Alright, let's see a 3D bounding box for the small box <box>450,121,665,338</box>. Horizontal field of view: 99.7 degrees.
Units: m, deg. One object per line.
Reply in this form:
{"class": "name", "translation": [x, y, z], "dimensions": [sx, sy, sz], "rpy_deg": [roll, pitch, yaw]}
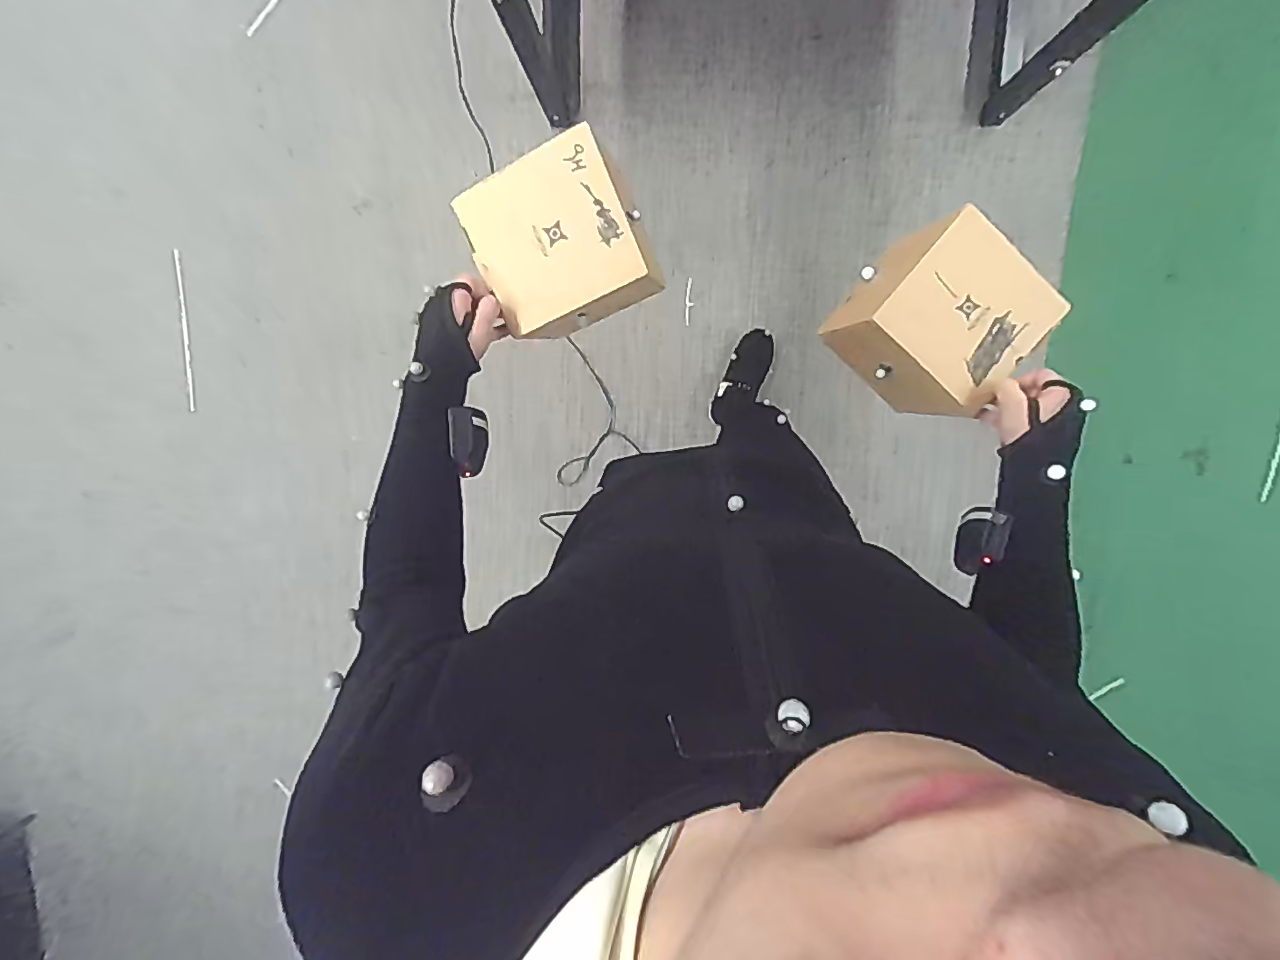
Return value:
{"class": "small box", "translation": [-0.086, -0.279, 0.653], "dimensions": [0.179, 0.176, 0.168], "rpy_deg": [-20, 99, 15]}

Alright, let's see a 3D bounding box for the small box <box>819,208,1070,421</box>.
{"class": "small box", "translation": [0.366, -0.195, 0.683], "dimensions": [0.179, 0.176, 0.168], "rpy_deg": [39, 94, -8]}
